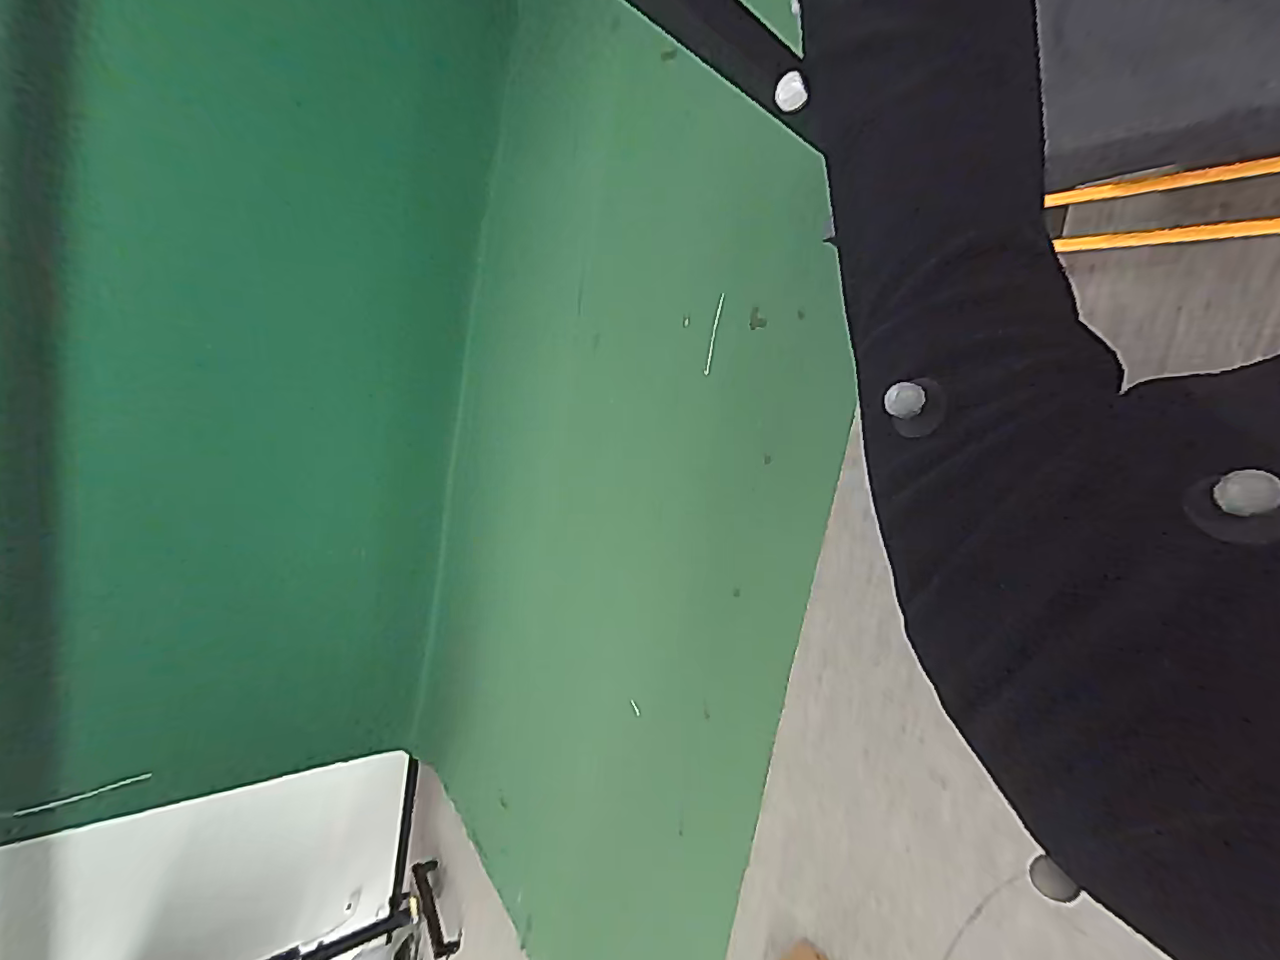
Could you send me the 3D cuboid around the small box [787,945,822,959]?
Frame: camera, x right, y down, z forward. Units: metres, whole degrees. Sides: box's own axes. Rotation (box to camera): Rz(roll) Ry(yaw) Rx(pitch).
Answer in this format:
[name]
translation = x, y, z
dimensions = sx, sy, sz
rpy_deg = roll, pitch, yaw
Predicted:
[small box]
translation = 0.483, 1.514, 1.561
dimensions = 0.168, 0.176, 0.179
rpy_deg = 17, 100, 50
